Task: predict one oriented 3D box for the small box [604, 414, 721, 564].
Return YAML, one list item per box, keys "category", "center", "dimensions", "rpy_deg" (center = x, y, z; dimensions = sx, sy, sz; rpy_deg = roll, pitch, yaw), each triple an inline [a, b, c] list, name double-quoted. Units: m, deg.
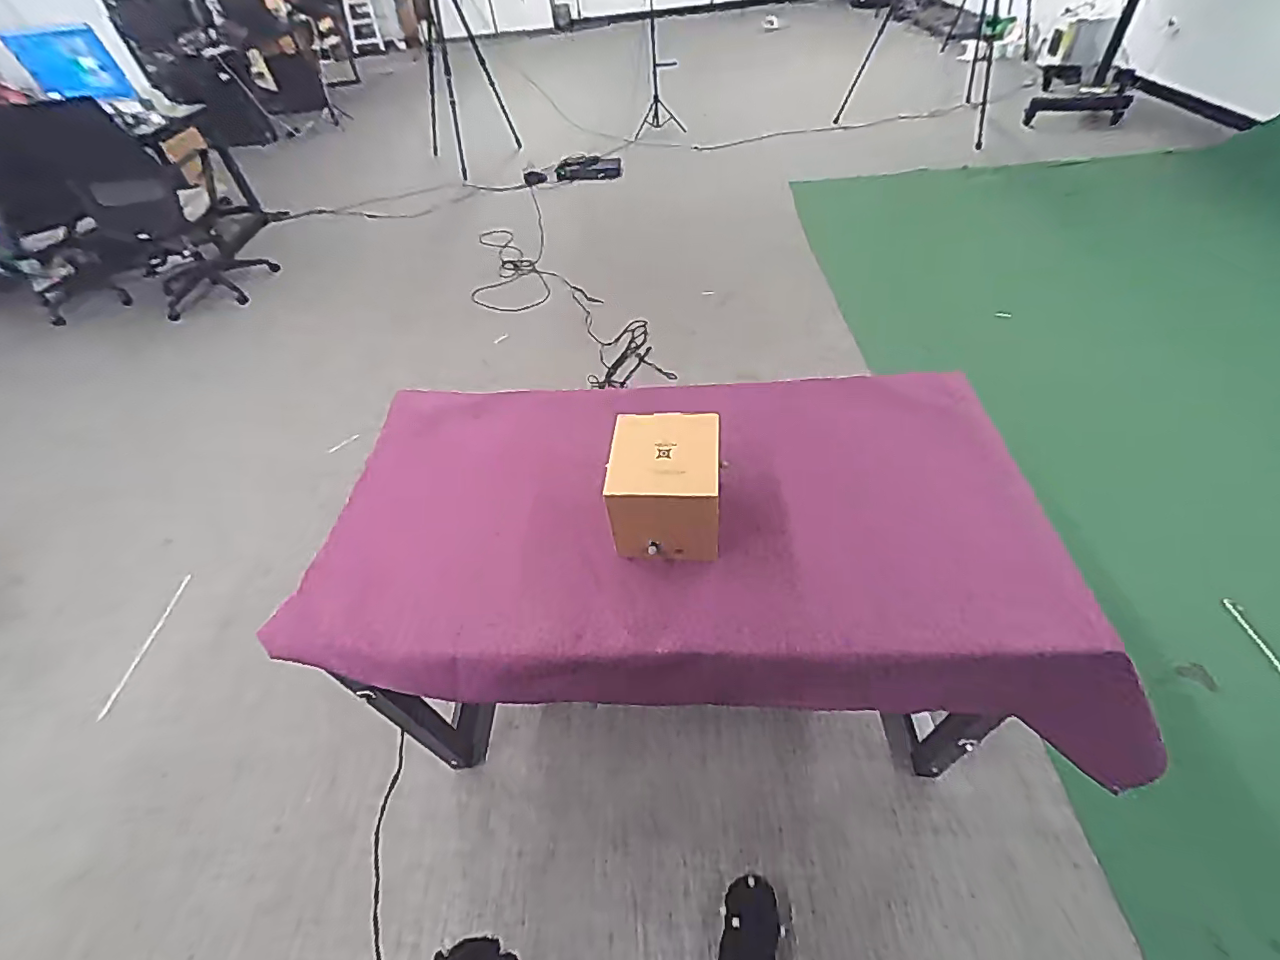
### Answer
- category: "small box"
  center: [0.045, 0.013, 0.868]
  dimensions: [0.168, 0.176, 0.179]
  rpy_deg: [0, 49, 8]
